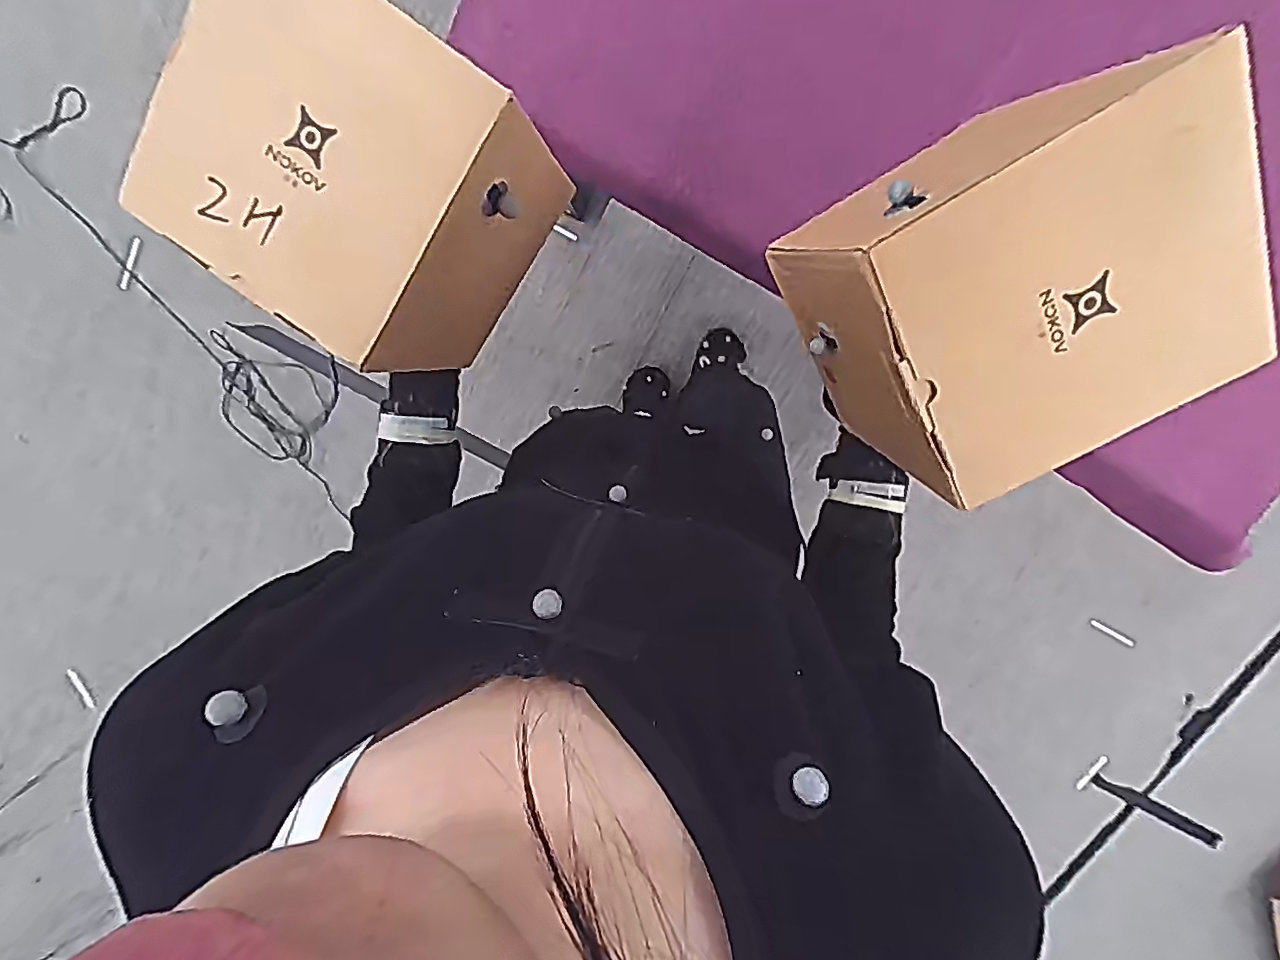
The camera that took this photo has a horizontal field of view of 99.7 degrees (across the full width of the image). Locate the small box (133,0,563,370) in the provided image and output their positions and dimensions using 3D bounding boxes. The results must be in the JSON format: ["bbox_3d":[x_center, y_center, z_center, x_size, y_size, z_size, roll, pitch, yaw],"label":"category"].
[{"bbox_3d":[-0.169,-0.196,0.373,0.168,0.176,0.179,35,104,-3],"label":"small box"}]

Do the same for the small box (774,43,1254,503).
[{"bbox_3d":[0.215,-0.122,0.350,0.179,0.176,0.168,-30,113,9],"label":"small box"}]
